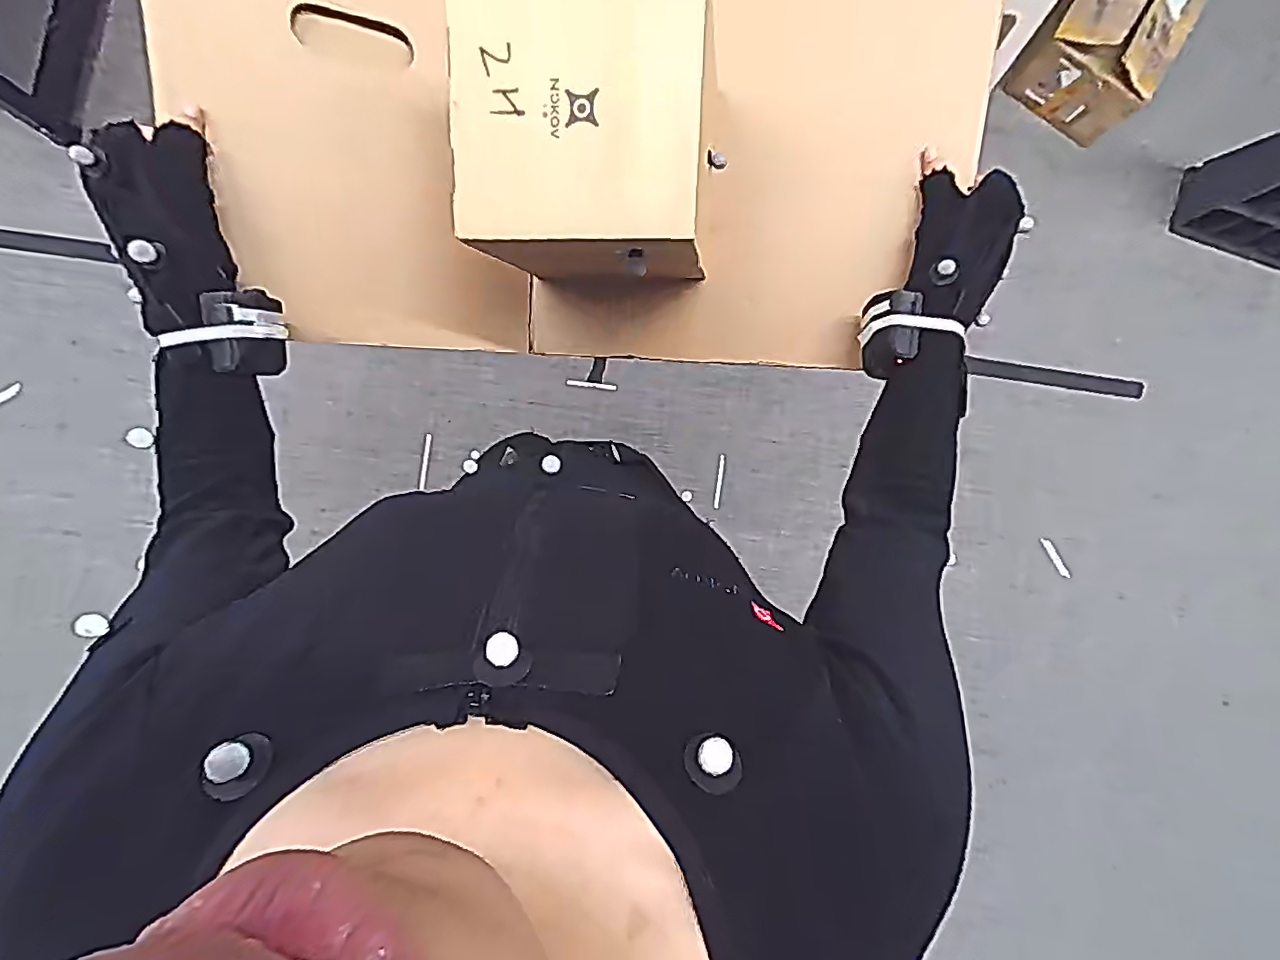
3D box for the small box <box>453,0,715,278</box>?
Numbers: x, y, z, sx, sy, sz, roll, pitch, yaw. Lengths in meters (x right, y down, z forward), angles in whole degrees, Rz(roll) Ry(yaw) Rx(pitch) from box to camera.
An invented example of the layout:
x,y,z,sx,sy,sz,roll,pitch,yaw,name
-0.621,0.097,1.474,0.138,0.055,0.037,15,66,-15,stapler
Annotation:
x,y,z,sx,sy,sz,roll,pitch,yaw,name
-0.032,-0.268,0.447,0.179,0.176,0.168,5,102,10,small box
